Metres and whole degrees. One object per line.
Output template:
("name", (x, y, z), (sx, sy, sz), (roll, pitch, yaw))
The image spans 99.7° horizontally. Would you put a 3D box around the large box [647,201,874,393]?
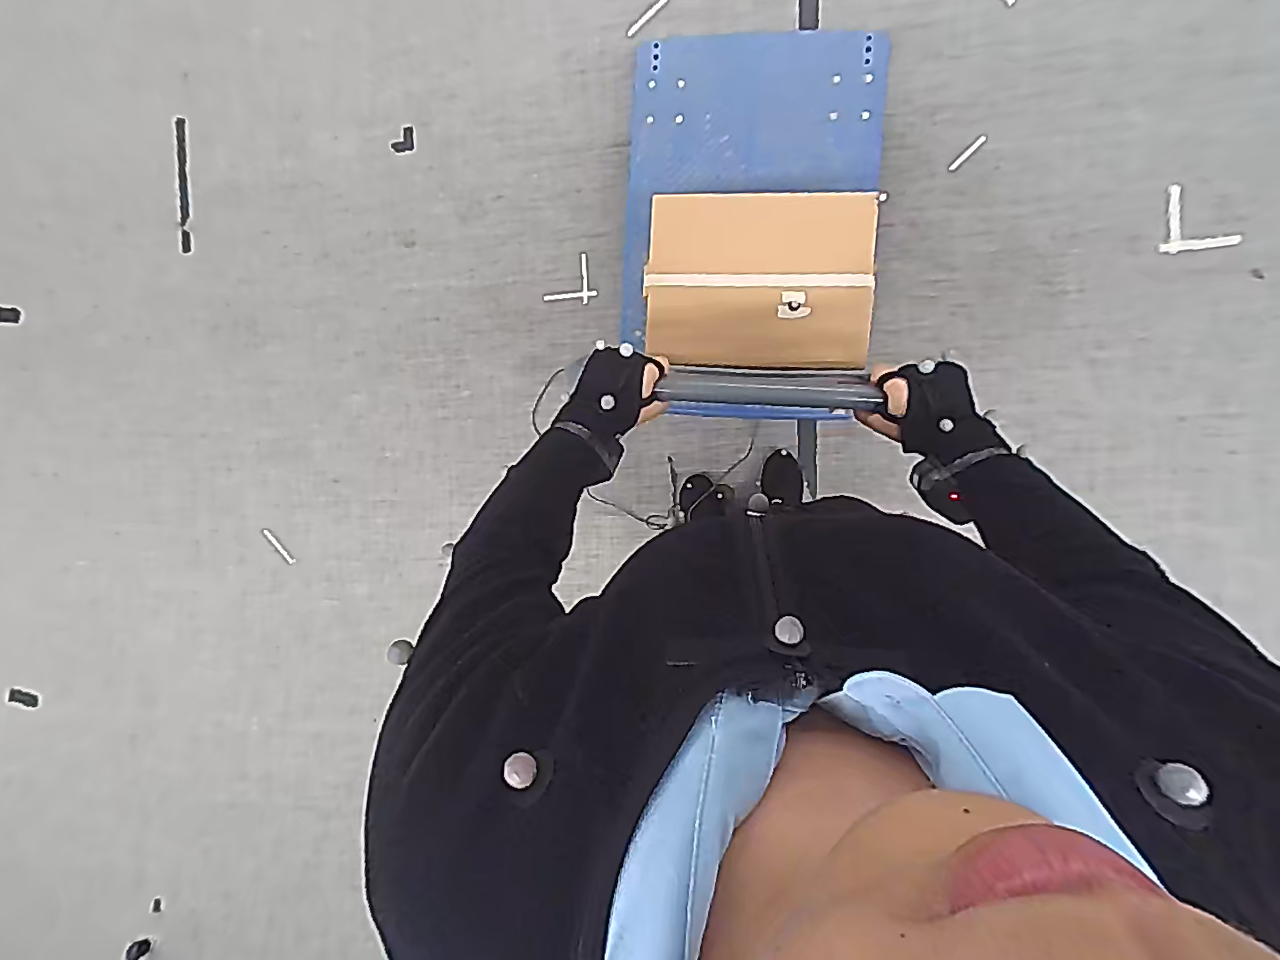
("large box", (0.229, -0.355, 1.133), (0.408, 0.320, 0.320), (3, 94, 7))
